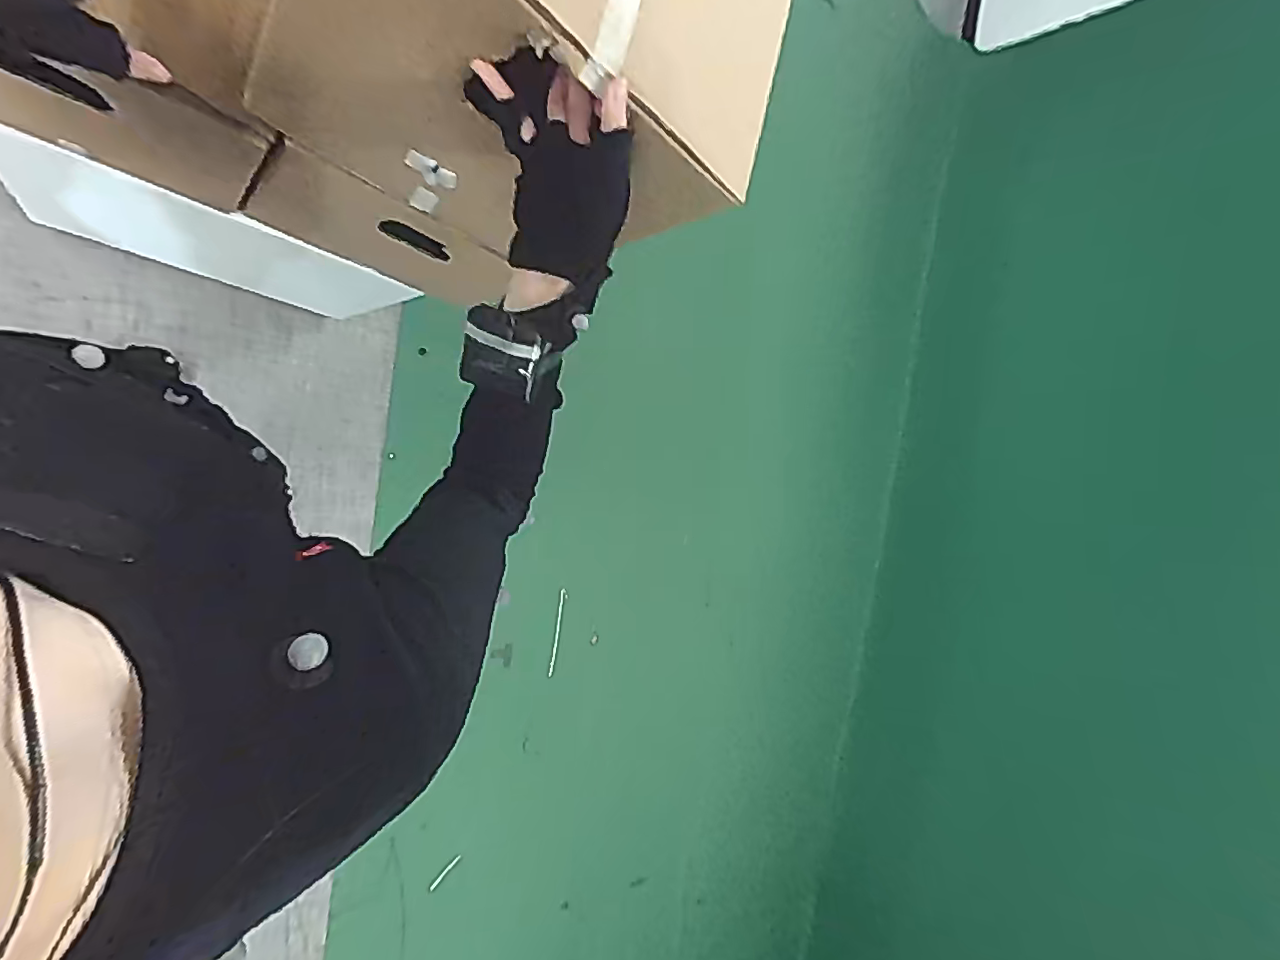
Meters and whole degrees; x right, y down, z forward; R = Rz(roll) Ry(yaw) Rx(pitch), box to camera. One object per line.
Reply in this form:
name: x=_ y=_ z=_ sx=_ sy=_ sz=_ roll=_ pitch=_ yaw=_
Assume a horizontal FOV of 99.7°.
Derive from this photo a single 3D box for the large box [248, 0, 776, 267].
large box: x=-0.090 y=-0.464 z=0.460 sx=0.320 sy=0.320 sz=0.408 roll=18 pitch=83 yaw=-41
